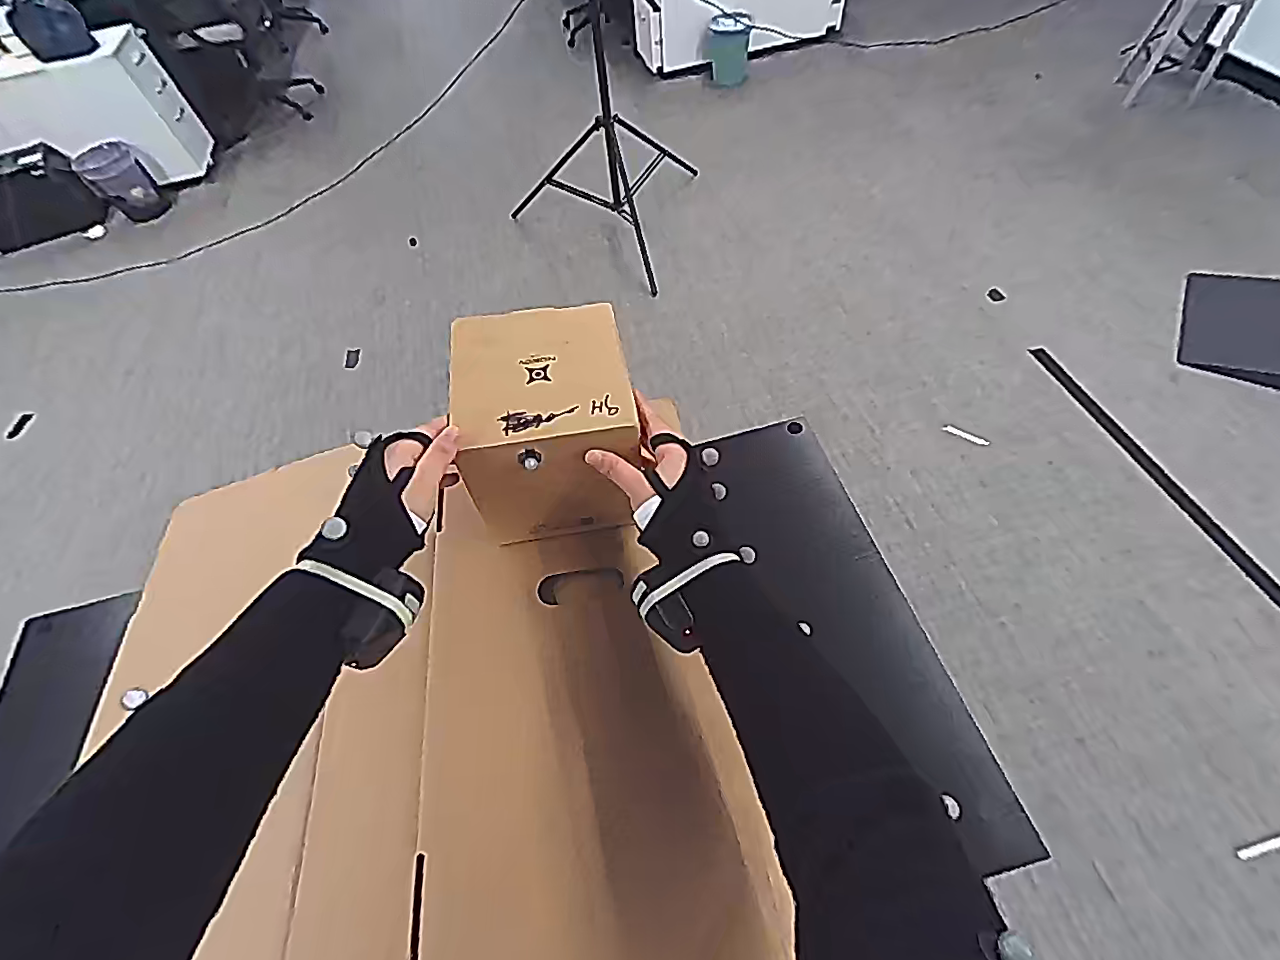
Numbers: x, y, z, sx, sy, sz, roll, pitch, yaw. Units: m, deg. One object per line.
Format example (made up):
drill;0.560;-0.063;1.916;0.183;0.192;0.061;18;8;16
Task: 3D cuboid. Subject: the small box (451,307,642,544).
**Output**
small box;-0.093;-0.055;0.576;0.168;0.176;0.179;-9;55;-5
